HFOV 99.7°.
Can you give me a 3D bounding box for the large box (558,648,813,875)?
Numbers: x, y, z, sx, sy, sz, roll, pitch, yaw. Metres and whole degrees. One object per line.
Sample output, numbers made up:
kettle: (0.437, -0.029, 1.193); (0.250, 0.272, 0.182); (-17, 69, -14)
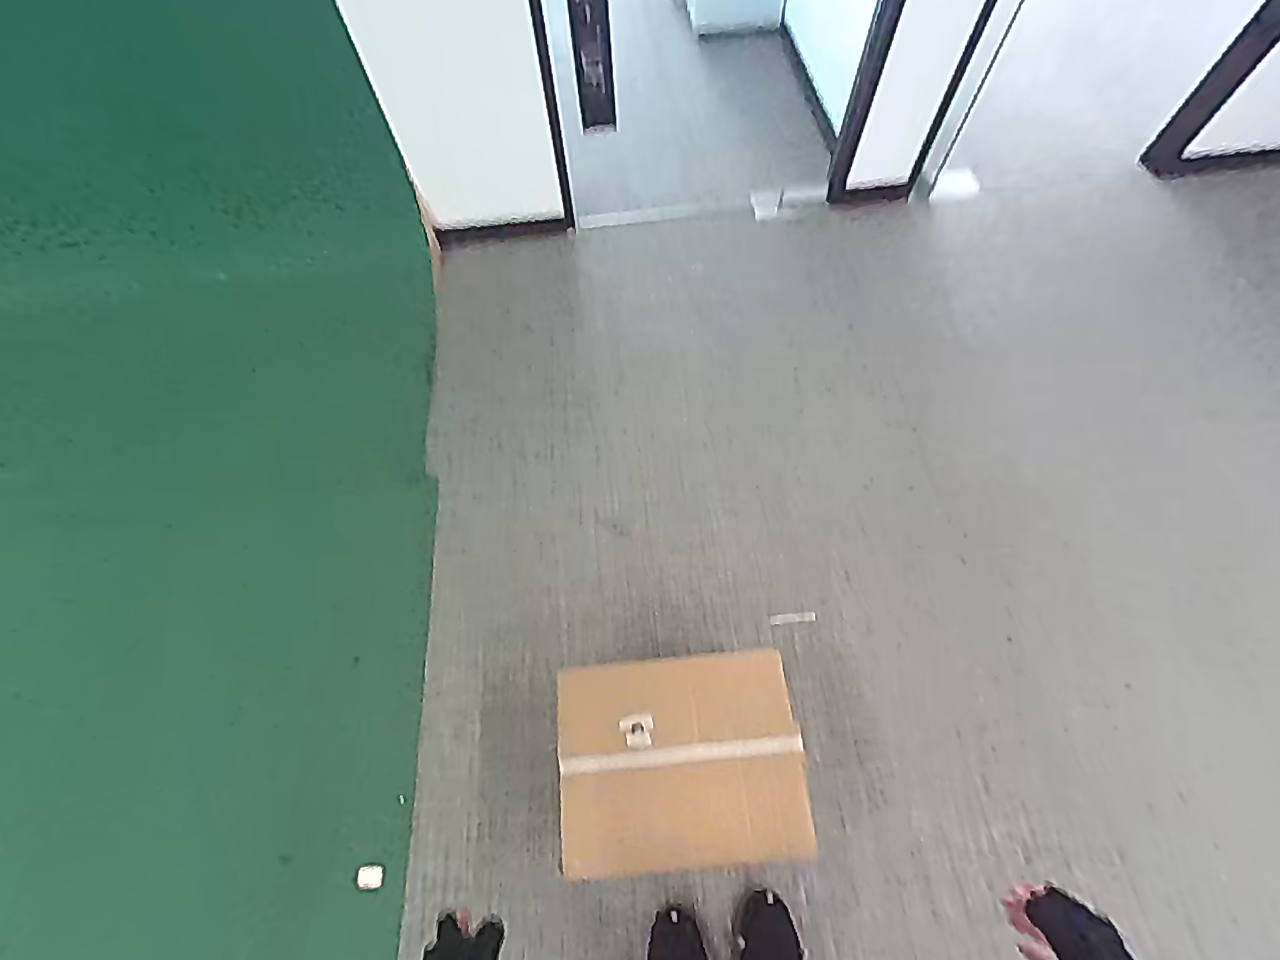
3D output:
large box: (0.070, 0.527, 1.045); (0.408, 0.320, 0.320); (-5, 62, 0)
